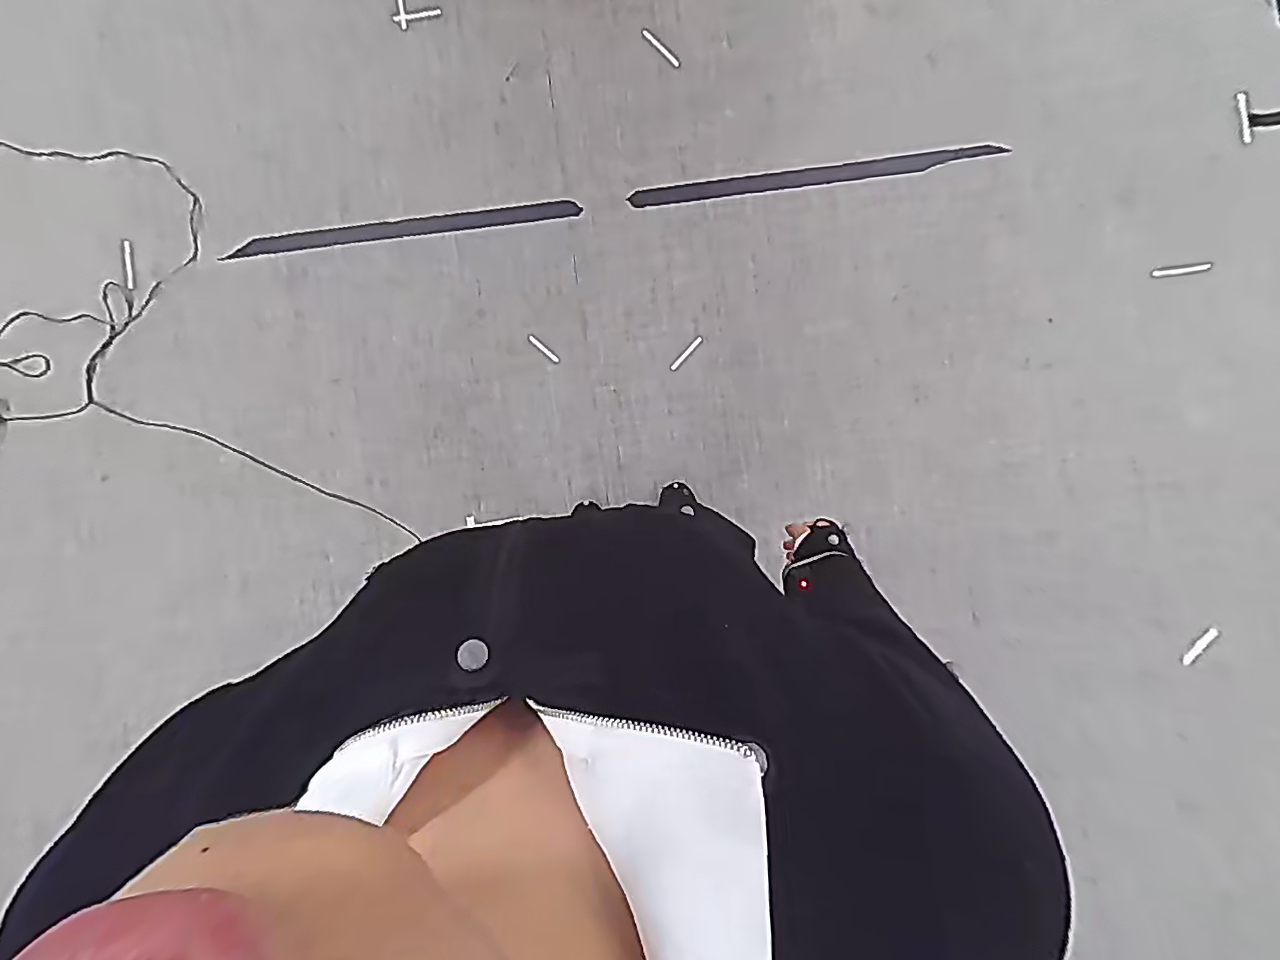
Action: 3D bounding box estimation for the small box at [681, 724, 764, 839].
[{"bbox_3d":[0.192,0.718,1.301,0.168,0.176,0.179,-9,89,2],"label":"small box"}]
